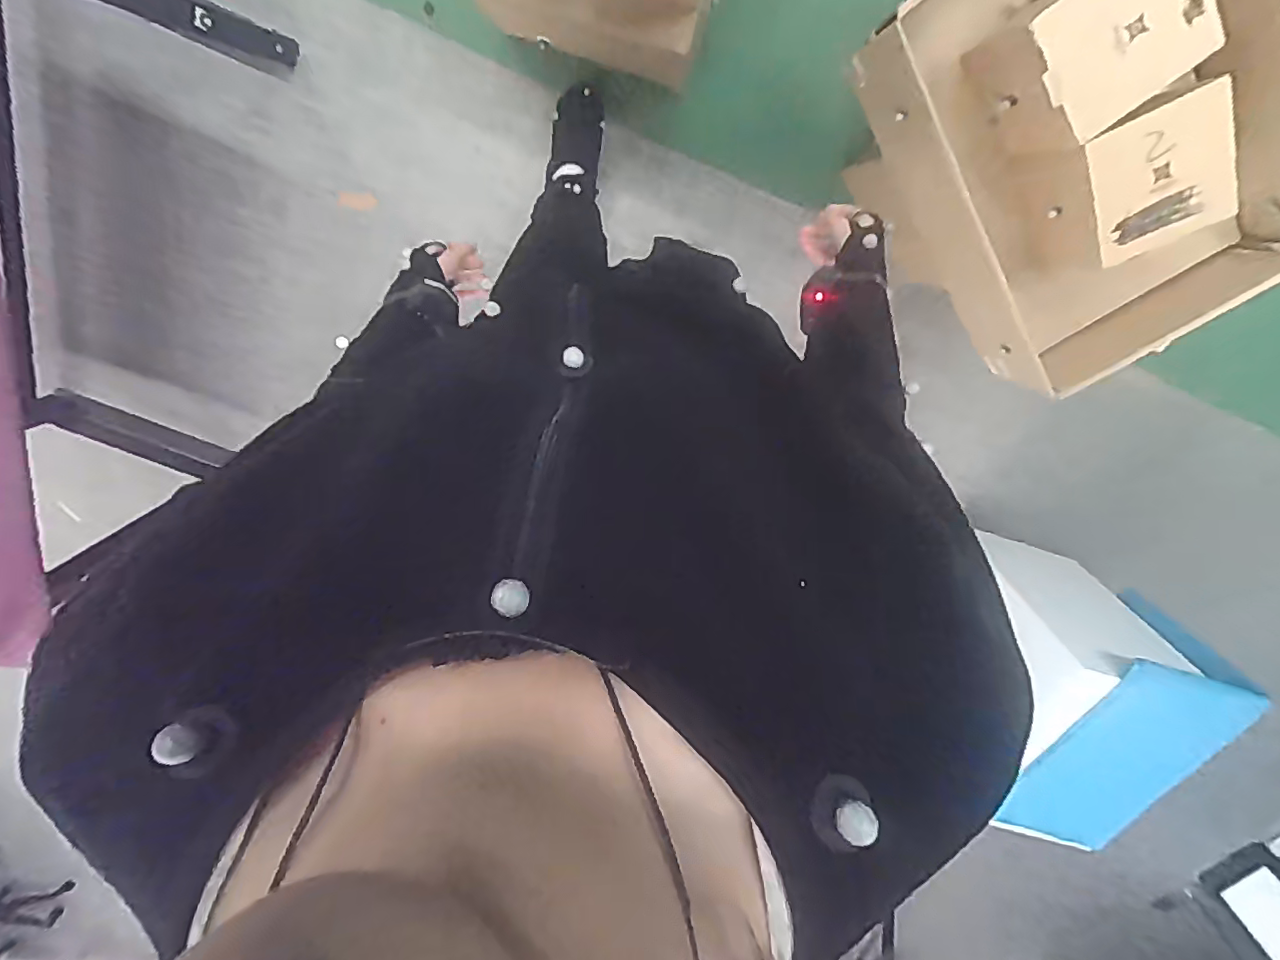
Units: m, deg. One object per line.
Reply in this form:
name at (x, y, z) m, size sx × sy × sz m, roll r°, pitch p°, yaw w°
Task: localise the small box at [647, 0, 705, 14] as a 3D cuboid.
small box at (0.030, -0.798, 0.757) m, size 0.179 × 0.176 × 0.168 m, roll 14°, pitch 117°, yaw -4°
